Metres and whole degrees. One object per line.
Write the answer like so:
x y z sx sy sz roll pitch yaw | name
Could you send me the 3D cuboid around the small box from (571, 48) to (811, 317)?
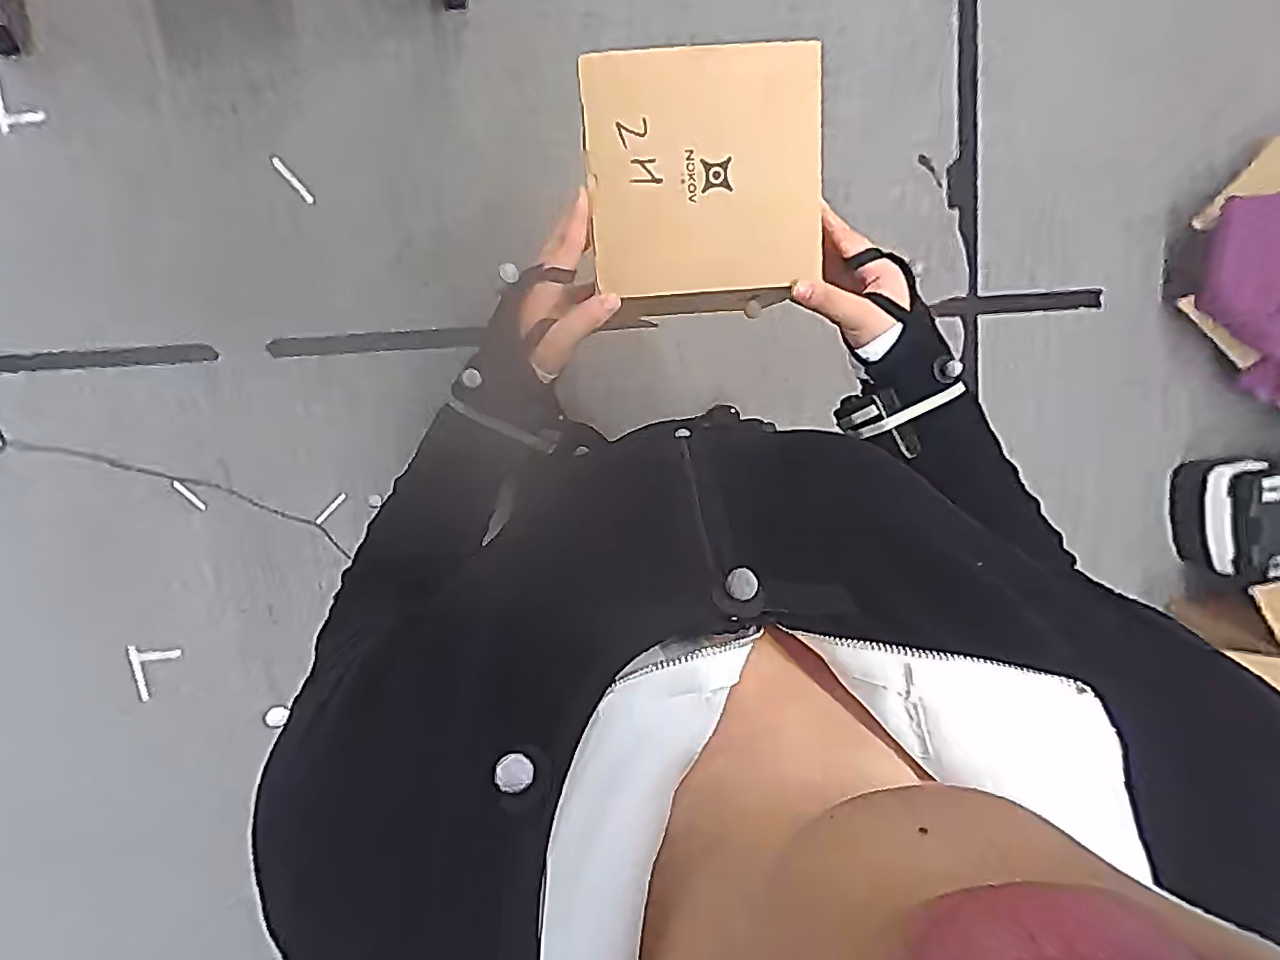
0.038 -0.242 0.482 0.179 0.176 0.168 -5 101 -1 | small box
